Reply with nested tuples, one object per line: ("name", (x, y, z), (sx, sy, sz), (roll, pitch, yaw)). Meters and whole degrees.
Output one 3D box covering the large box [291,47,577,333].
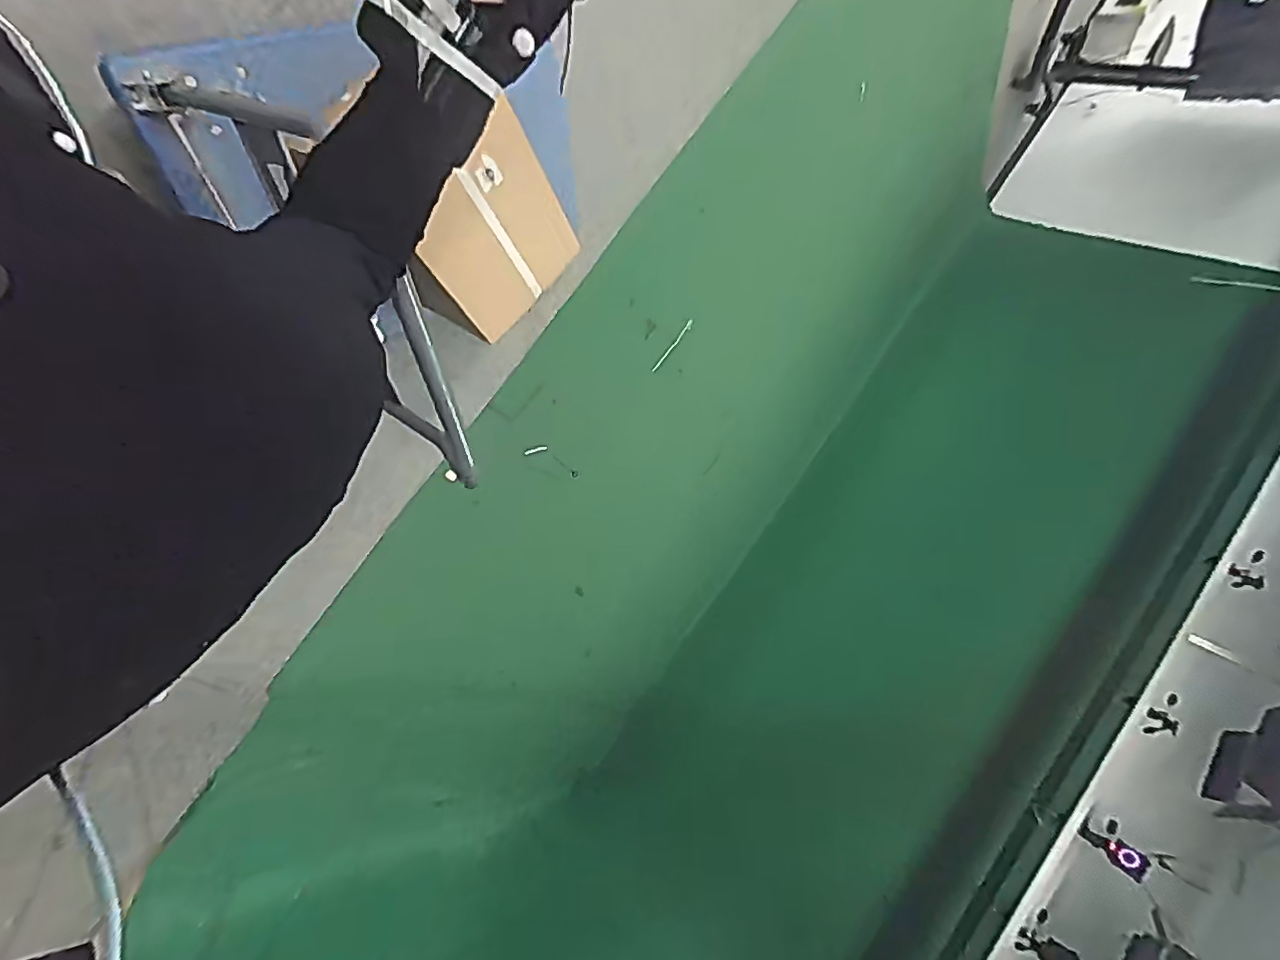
("large box", (-0.407, -0.593, 1.135), (0.320, 0.320, 0.408), (-50, 147, -11))
